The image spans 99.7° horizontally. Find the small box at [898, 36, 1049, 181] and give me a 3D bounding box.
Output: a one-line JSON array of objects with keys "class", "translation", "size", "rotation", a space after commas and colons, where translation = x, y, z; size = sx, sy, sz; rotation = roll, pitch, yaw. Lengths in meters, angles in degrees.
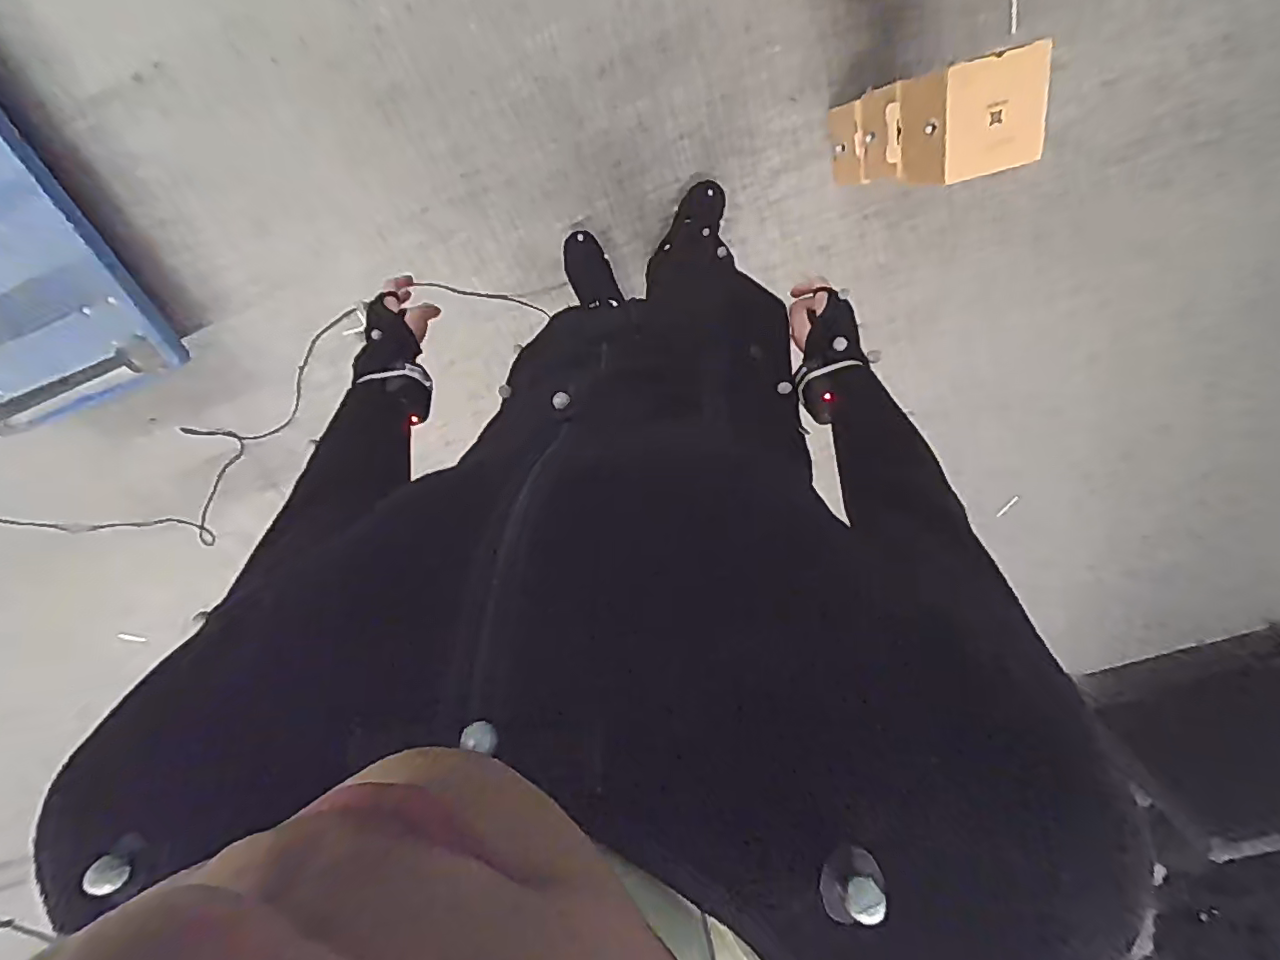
[{"class": "small box", "translation": [0.579, -0.649, 0.966], "size": [0.168, 0.176, 0.179], "rotation": [-12, 119, 4]}]

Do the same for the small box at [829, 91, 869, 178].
[{"class": "small box", "translation": [0.550, -0.810, 1.250], "size": [0.179, 0.176, 0.168], "rotation": [-16, 119, 6]}]

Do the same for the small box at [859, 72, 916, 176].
[{"class": "small box", "translation": [0.569, -0.734, 1.105], "size": [0.179, 0.176, 0.168], "rotation": [-12, 118, 3]}]
